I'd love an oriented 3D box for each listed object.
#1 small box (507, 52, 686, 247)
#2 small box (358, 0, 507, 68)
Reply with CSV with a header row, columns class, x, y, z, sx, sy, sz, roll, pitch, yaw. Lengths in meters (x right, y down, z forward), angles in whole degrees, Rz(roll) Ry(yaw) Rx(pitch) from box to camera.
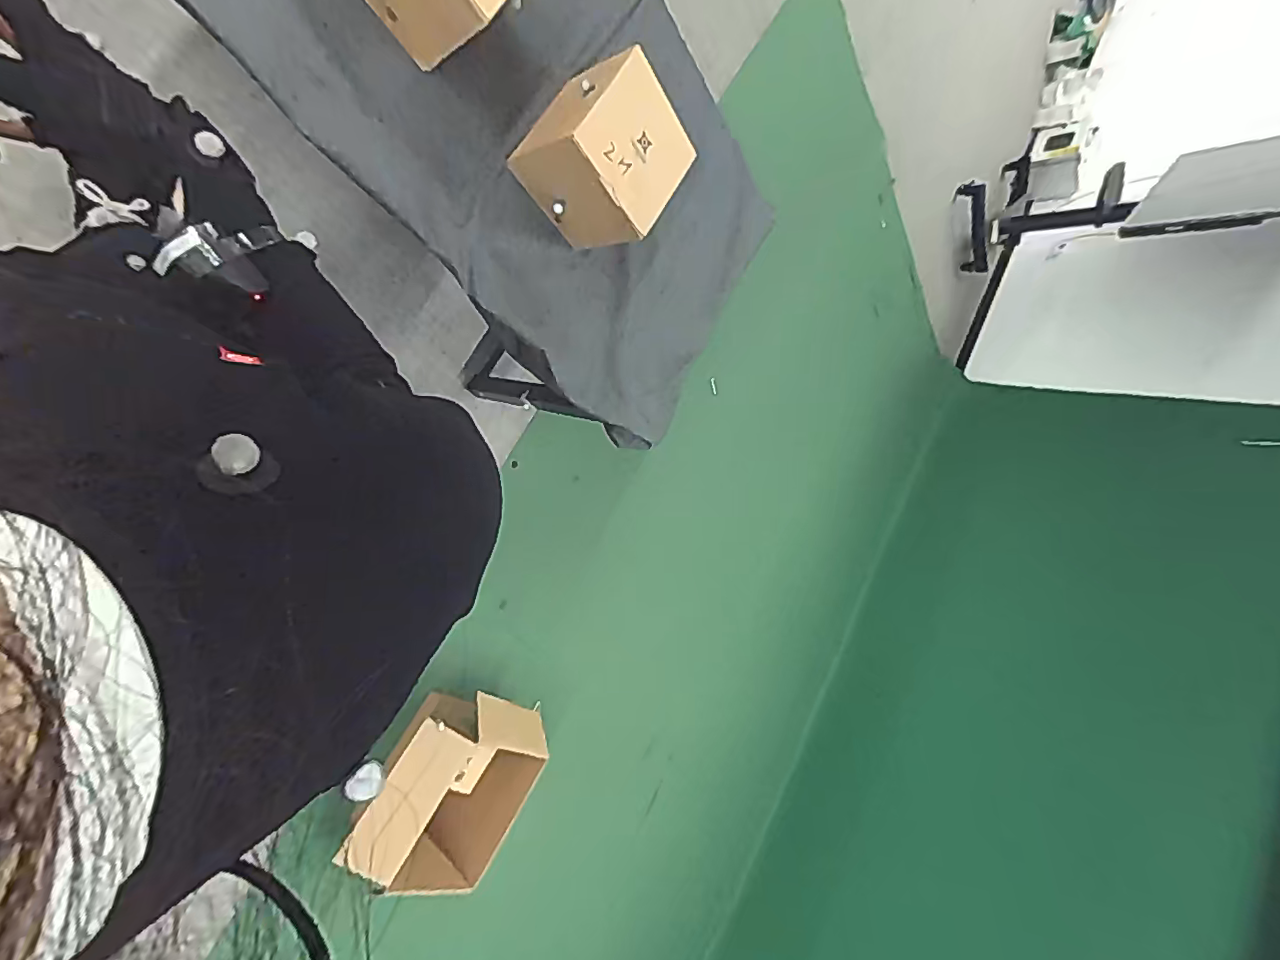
class,x,y,z,sx,sy,sz,roll,pitch,yaw
small box,-0.067,-0.479,0.811,0.168,0.176,0.179,42,72,-43
small box,-0.231,-0.618,0.606,0.168,0.176,0.179,42,72,-44
